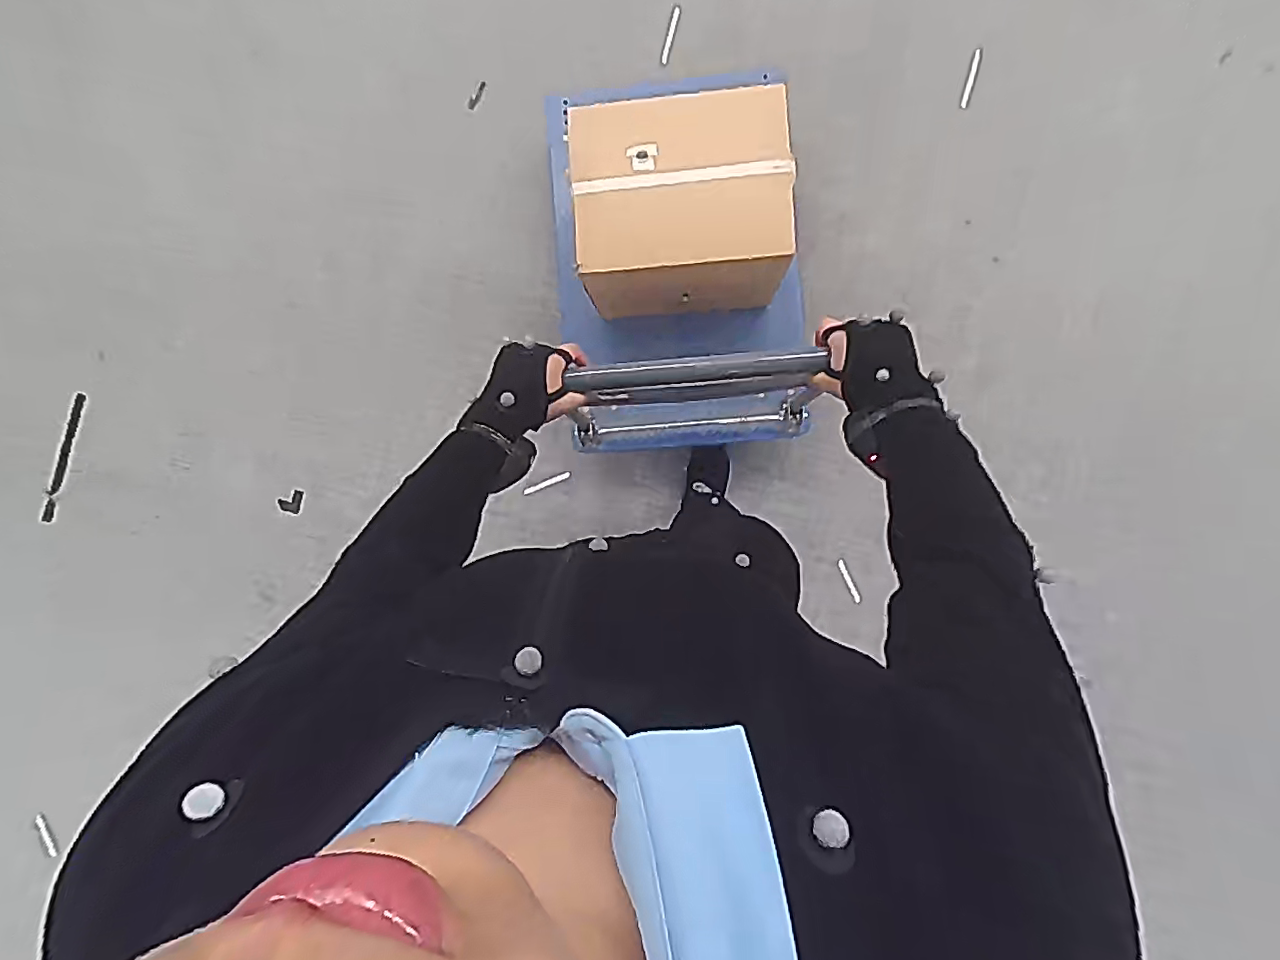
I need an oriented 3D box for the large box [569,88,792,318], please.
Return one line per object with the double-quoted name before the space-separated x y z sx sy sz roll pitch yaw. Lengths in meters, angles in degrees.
"large box" 0.088 -0.557 1.161 0.408 0.320 0.320 -4 89 5
